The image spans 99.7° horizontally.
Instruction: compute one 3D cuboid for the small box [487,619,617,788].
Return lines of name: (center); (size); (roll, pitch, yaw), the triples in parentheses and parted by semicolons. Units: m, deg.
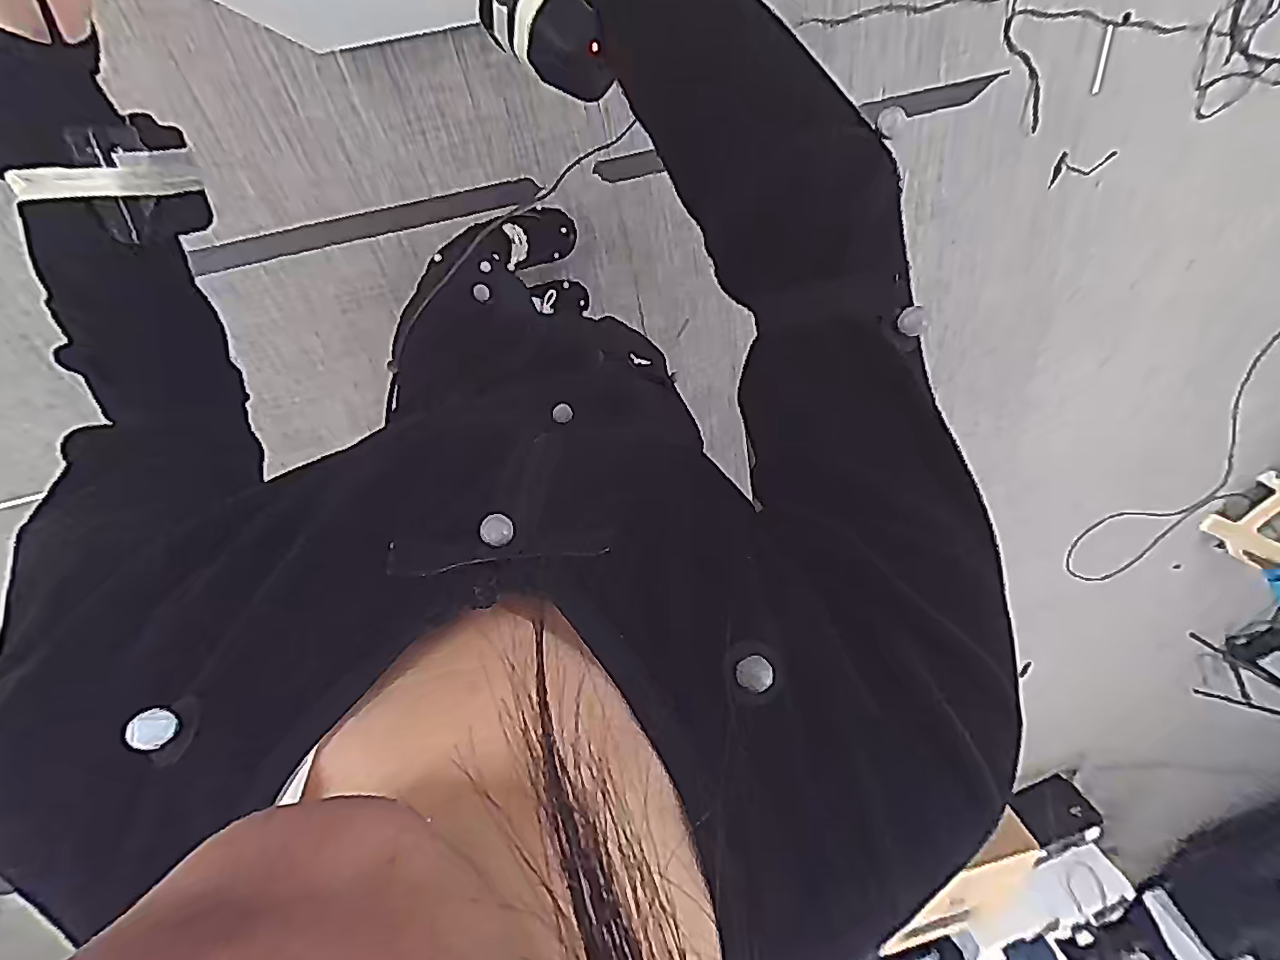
small box: (-0.147, 0.366, 0.901); (0.168, 0.176, 0.179); (-16, 122, -6)
